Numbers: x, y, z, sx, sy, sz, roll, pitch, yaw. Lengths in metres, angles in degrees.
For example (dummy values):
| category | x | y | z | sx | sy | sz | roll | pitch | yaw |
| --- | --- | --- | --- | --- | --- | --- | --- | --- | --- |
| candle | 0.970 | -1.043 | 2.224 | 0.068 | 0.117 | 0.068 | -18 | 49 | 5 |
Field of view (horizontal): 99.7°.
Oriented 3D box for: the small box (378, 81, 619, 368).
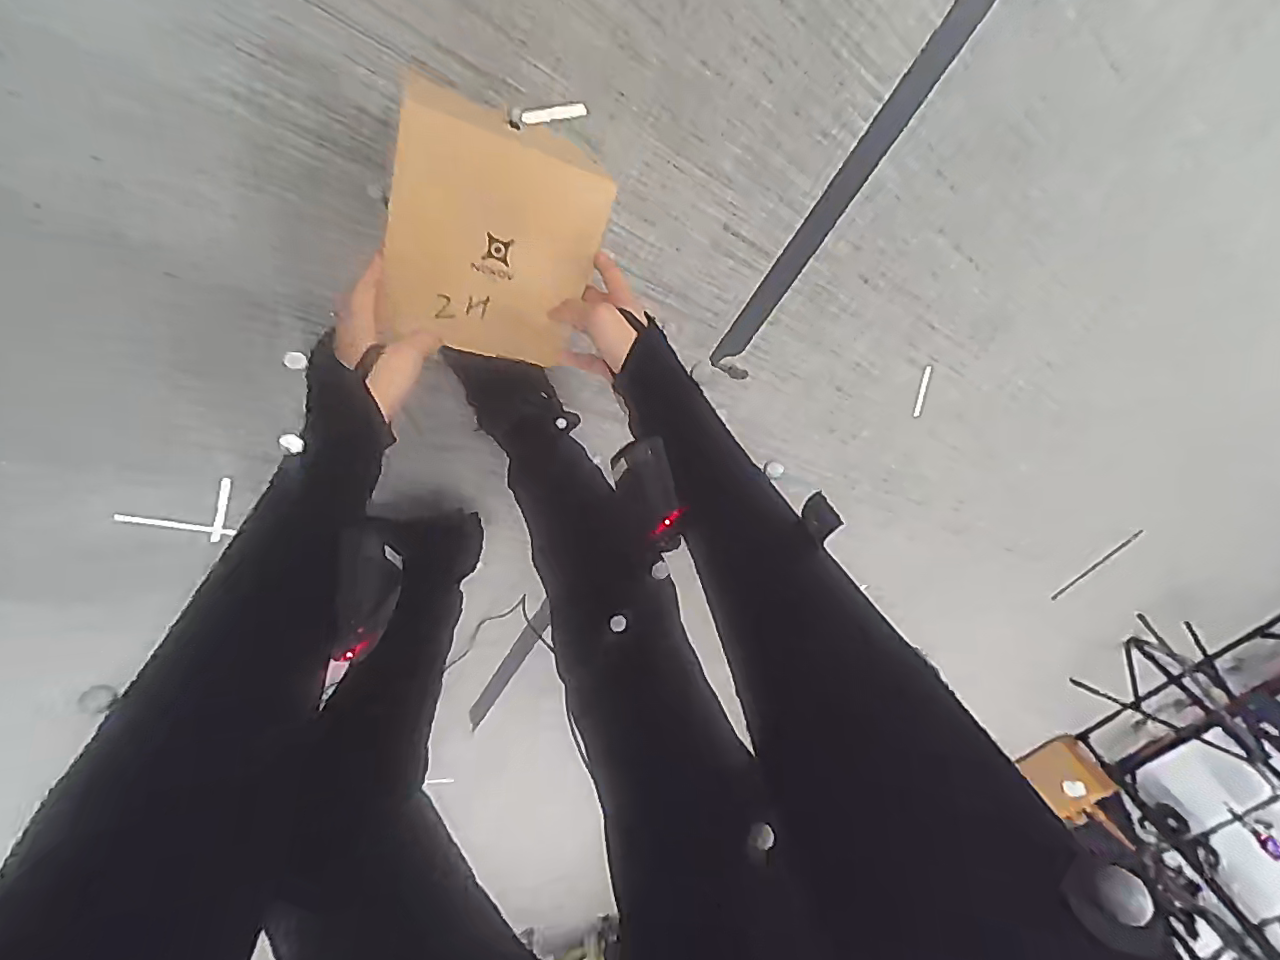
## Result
| category | x | y | z | sx | sy | sz | roll | pitch | yaw |
| --- | --- | --- | --- | --- | --- | --- | --- | --- | --- |
| small box | -0.143 | -0.234 | 0.501 | 0.168 | 0.176 | 0.179 | 6 | 128 | -28 |
